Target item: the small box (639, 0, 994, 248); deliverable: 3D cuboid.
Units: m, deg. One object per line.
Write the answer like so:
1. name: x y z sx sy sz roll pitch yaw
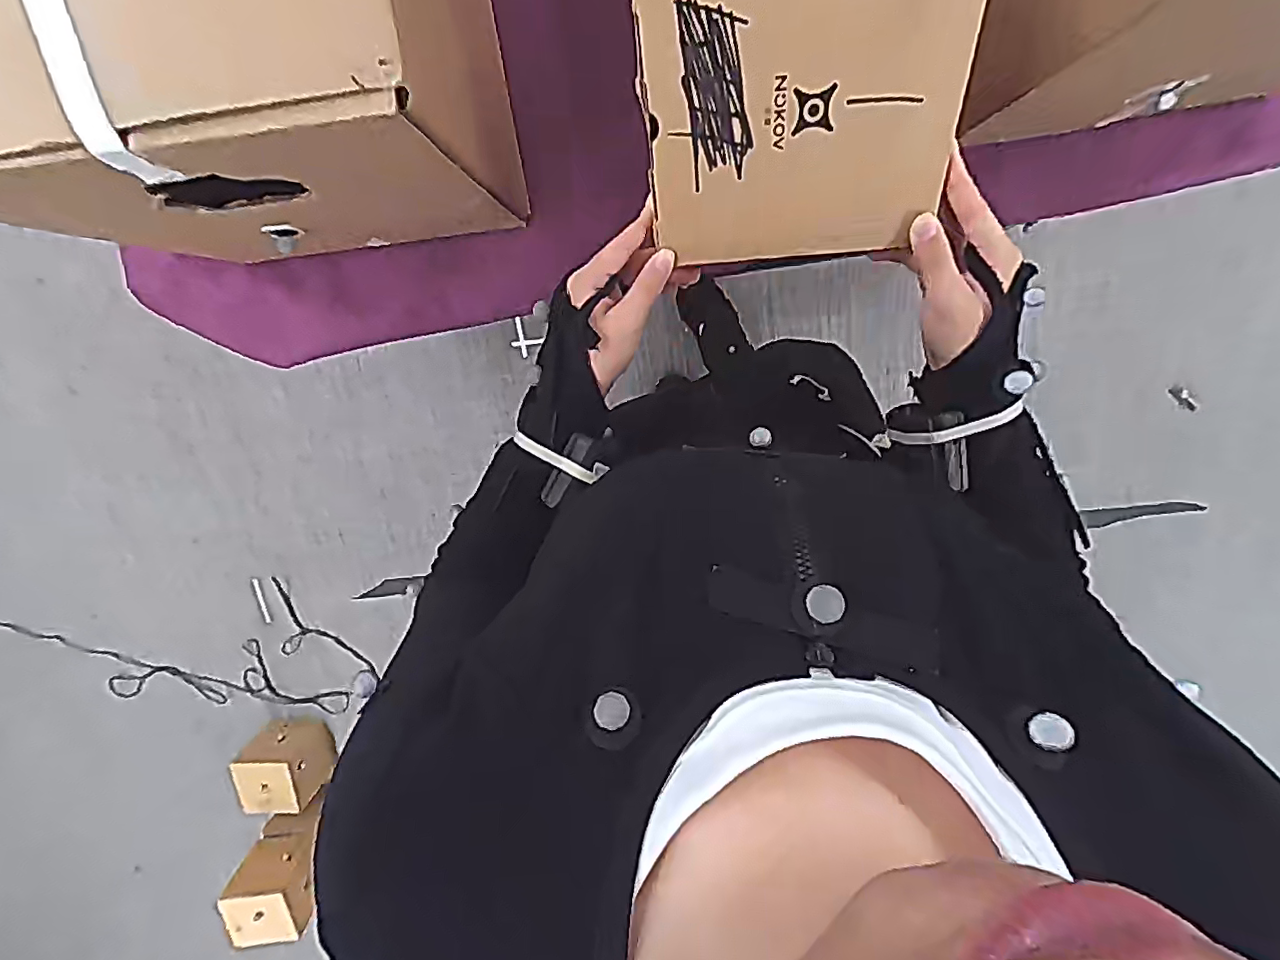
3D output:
1. small box: 0.099 -0.269 0.351 0.179 0.176 0.168 -2 133 9

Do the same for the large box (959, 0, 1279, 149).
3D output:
1. large box: 0.402 -0.491 0.318 0.320 0.320 0.408 -8 103 4

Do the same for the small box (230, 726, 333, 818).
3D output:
1. small box: -1.023 0.834 1.558 0.168 0.176 0.179 -2 106 3
